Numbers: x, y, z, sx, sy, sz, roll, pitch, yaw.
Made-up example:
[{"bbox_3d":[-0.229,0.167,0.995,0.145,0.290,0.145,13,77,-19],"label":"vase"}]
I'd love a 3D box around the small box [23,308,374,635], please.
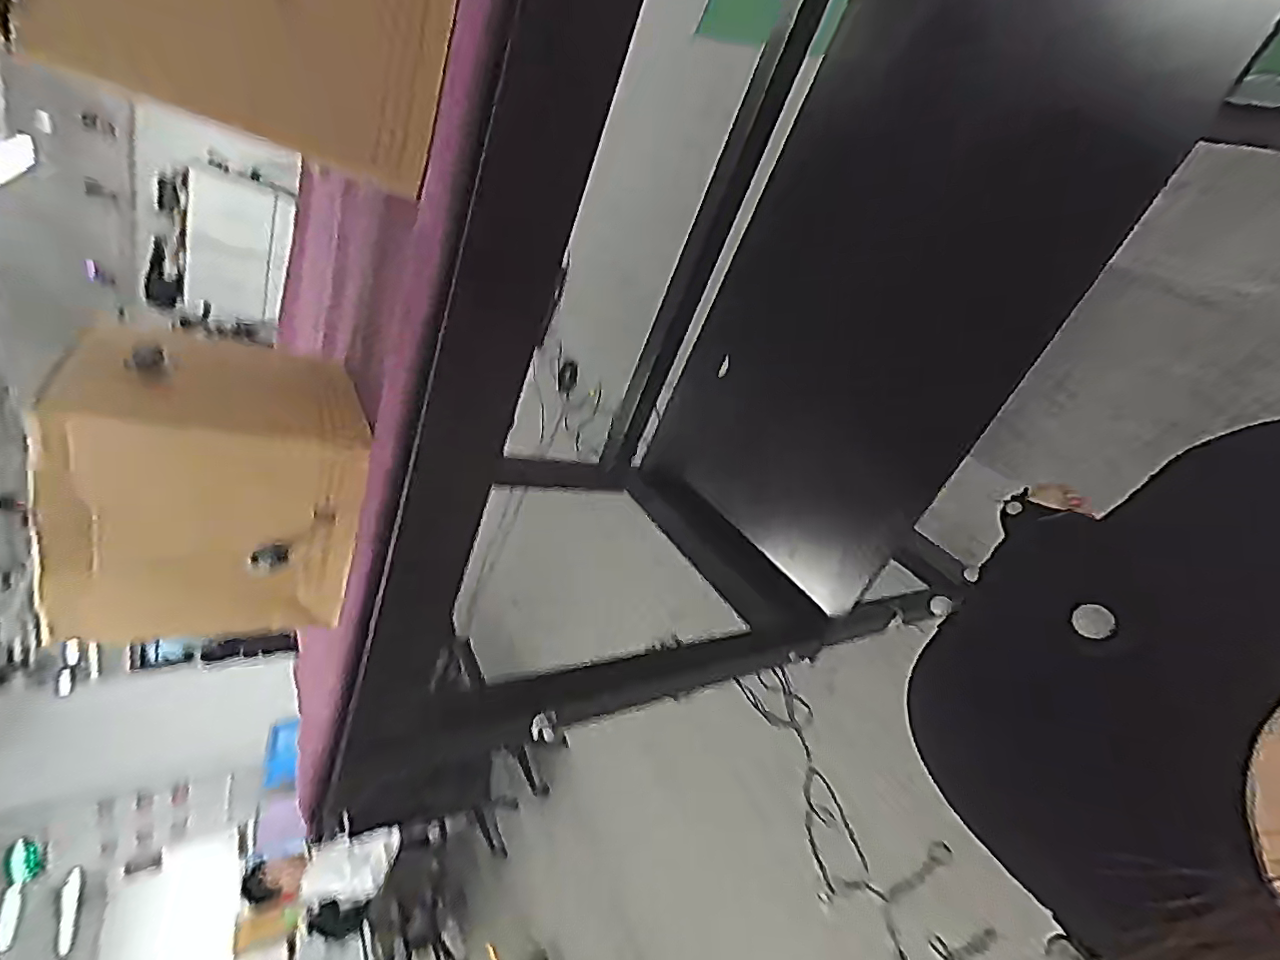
[{"bbox_3d":[-0.317,-0.008,0.409,0.179,0.176,0.168,43,119,45],"label":"small box"}]
